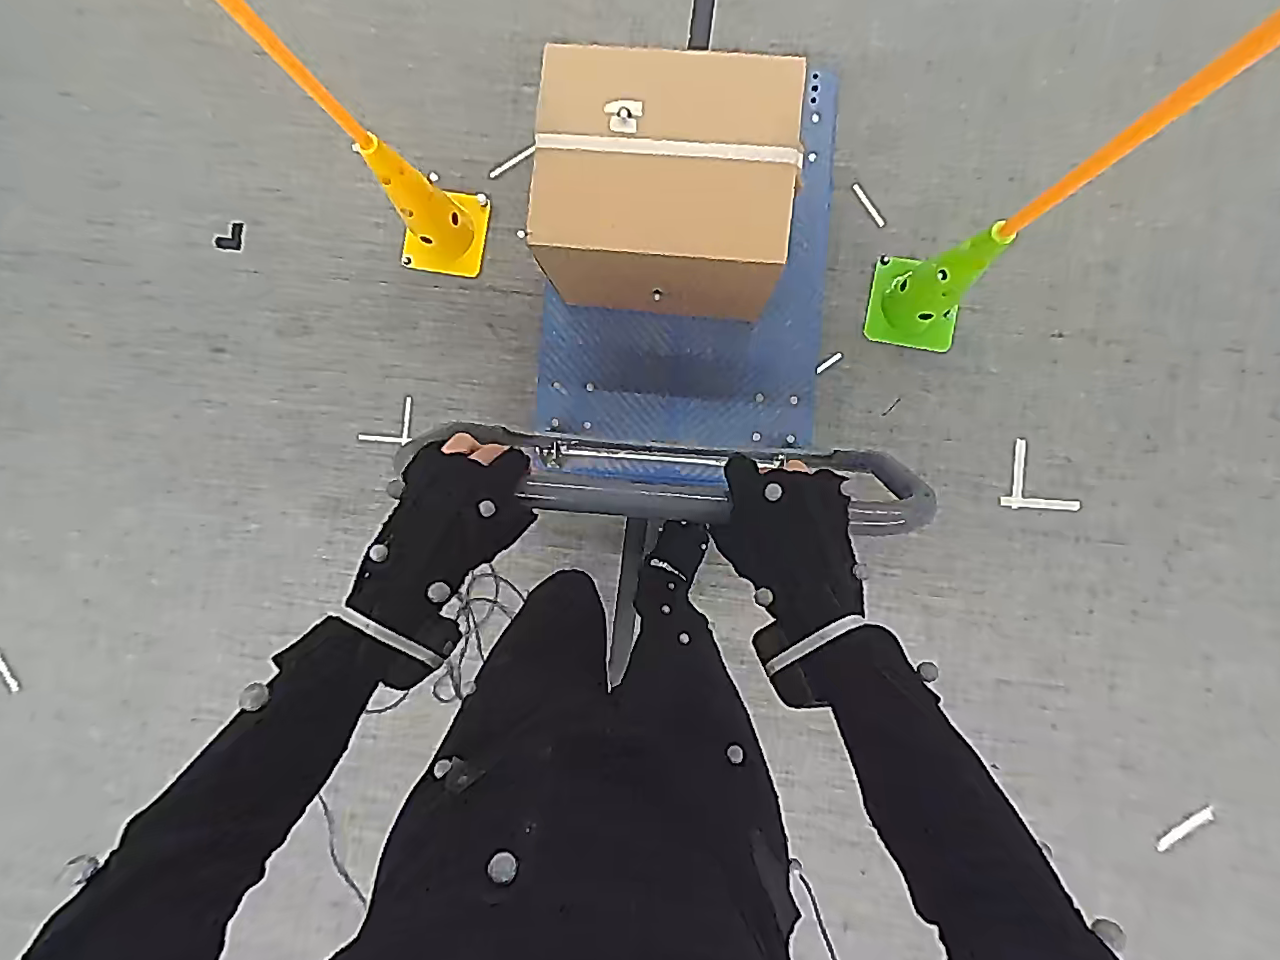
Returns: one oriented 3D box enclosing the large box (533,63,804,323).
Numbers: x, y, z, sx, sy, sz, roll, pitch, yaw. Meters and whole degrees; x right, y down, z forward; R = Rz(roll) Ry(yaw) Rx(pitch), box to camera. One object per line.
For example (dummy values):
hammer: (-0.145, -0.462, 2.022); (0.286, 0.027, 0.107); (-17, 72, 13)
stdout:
large box: (0.053, -0.489, 0.987); (0.408, 0.320, 0.320); (7, 91, 5)

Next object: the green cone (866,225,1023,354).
green cone: (0.630, -0.405, 1.089); (0.202, 0.368, 0.200); (11, 90, 3)
